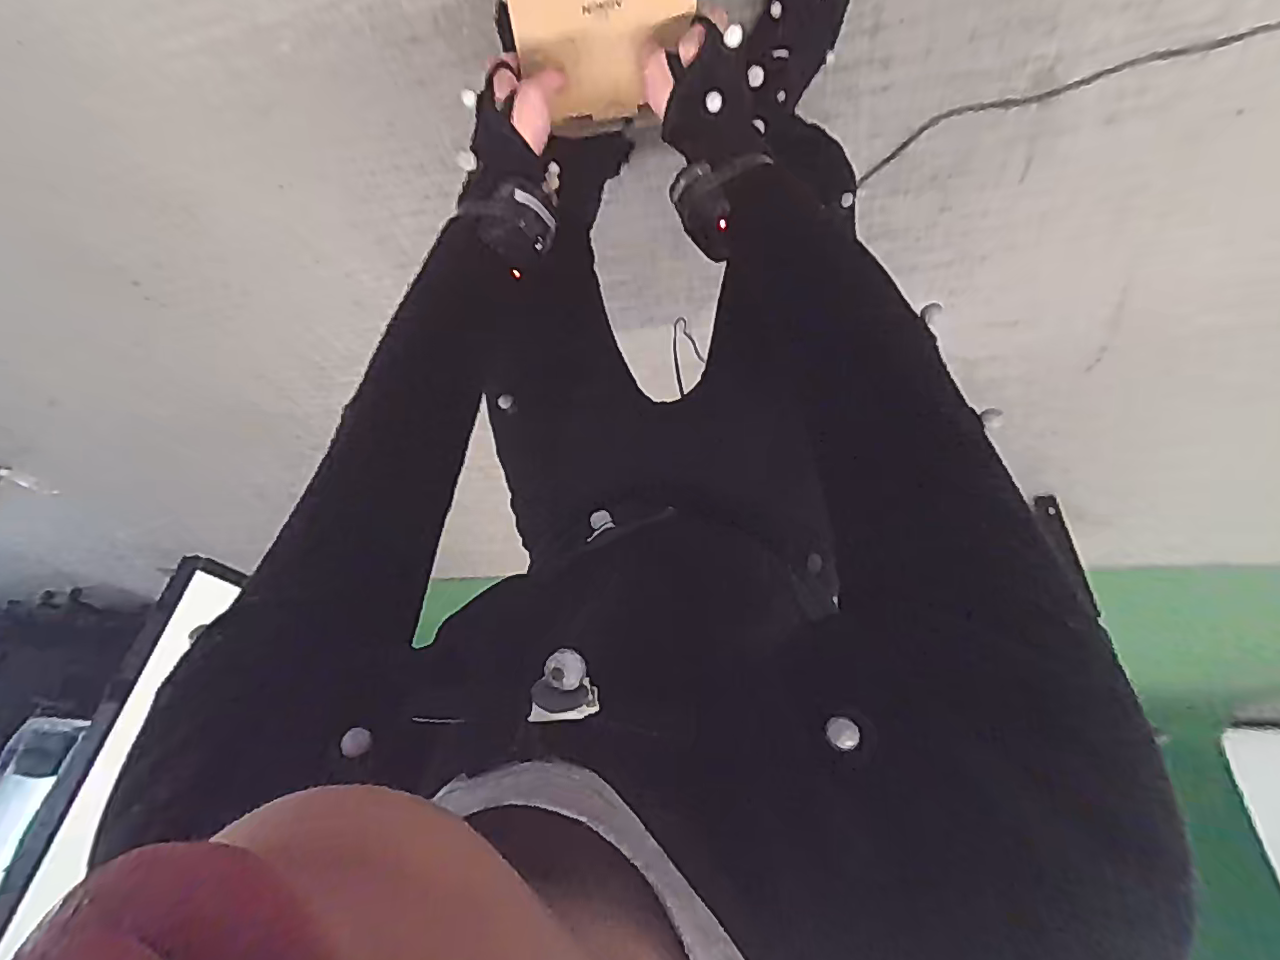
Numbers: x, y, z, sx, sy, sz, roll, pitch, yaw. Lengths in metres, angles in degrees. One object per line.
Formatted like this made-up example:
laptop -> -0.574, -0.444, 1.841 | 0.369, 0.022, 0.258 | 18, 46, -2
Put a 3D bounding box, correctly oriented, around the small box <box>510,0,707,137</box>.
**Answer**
small box -> -0.022, -0.453, 0.534 | 0.168, 0.176, 0.179 | -4, 118, 10
